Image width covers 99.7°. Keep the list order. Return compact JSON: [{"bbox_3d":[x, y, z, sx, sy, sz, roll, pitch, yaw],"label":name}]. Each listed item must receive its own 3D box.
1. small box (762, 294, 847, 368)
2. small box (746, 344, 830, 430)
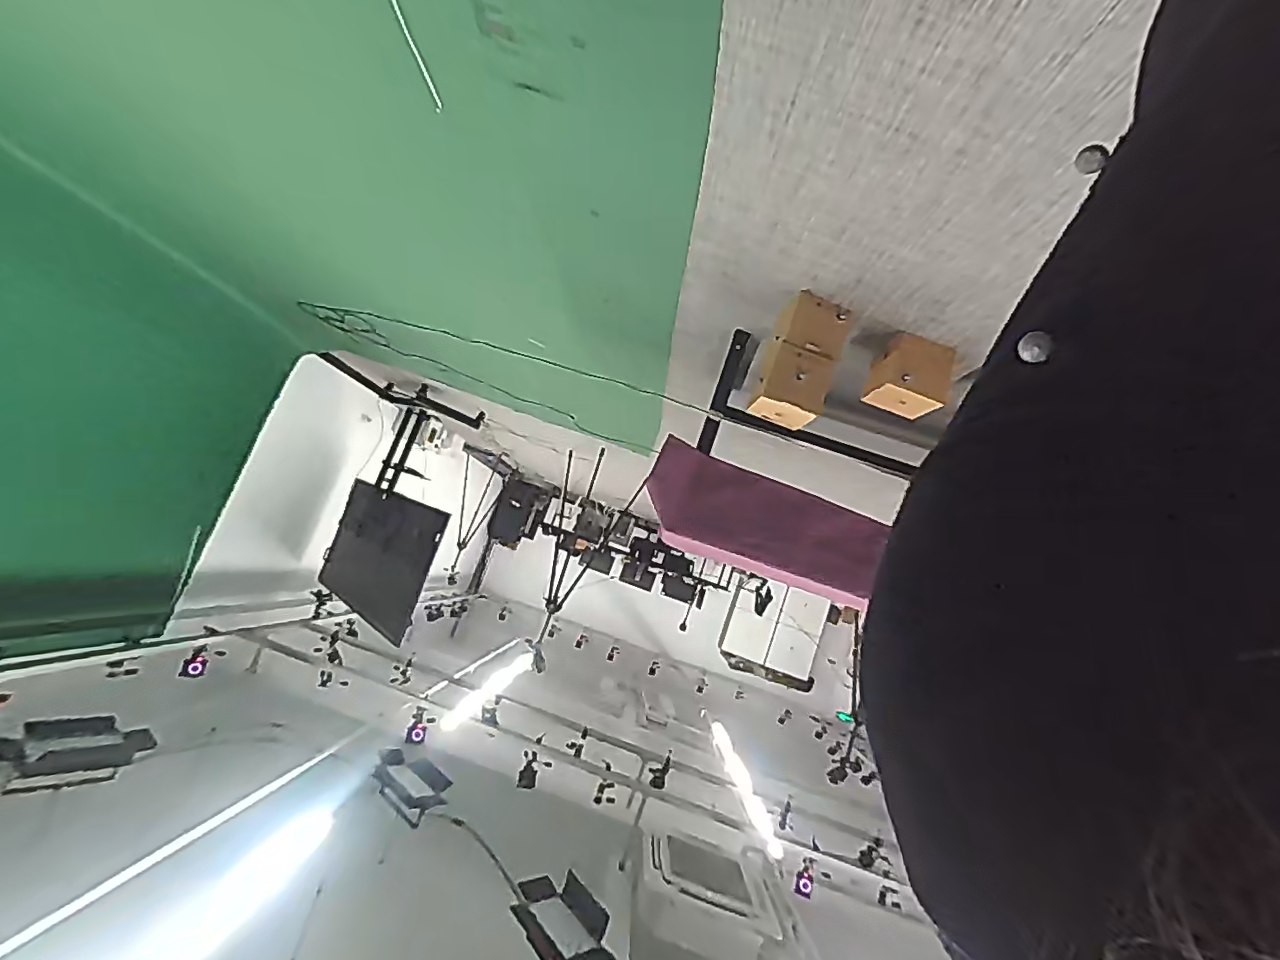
[{"bbox_3d":[0.487,-0.418,1.591,0.168,0.176,0.179,22,171,-6],"label":"small box"},{"bbox_3d":[0.427,-0.268,1.558,0.168,0.176,0.179,21,170,-2],"label":"small box"}]
